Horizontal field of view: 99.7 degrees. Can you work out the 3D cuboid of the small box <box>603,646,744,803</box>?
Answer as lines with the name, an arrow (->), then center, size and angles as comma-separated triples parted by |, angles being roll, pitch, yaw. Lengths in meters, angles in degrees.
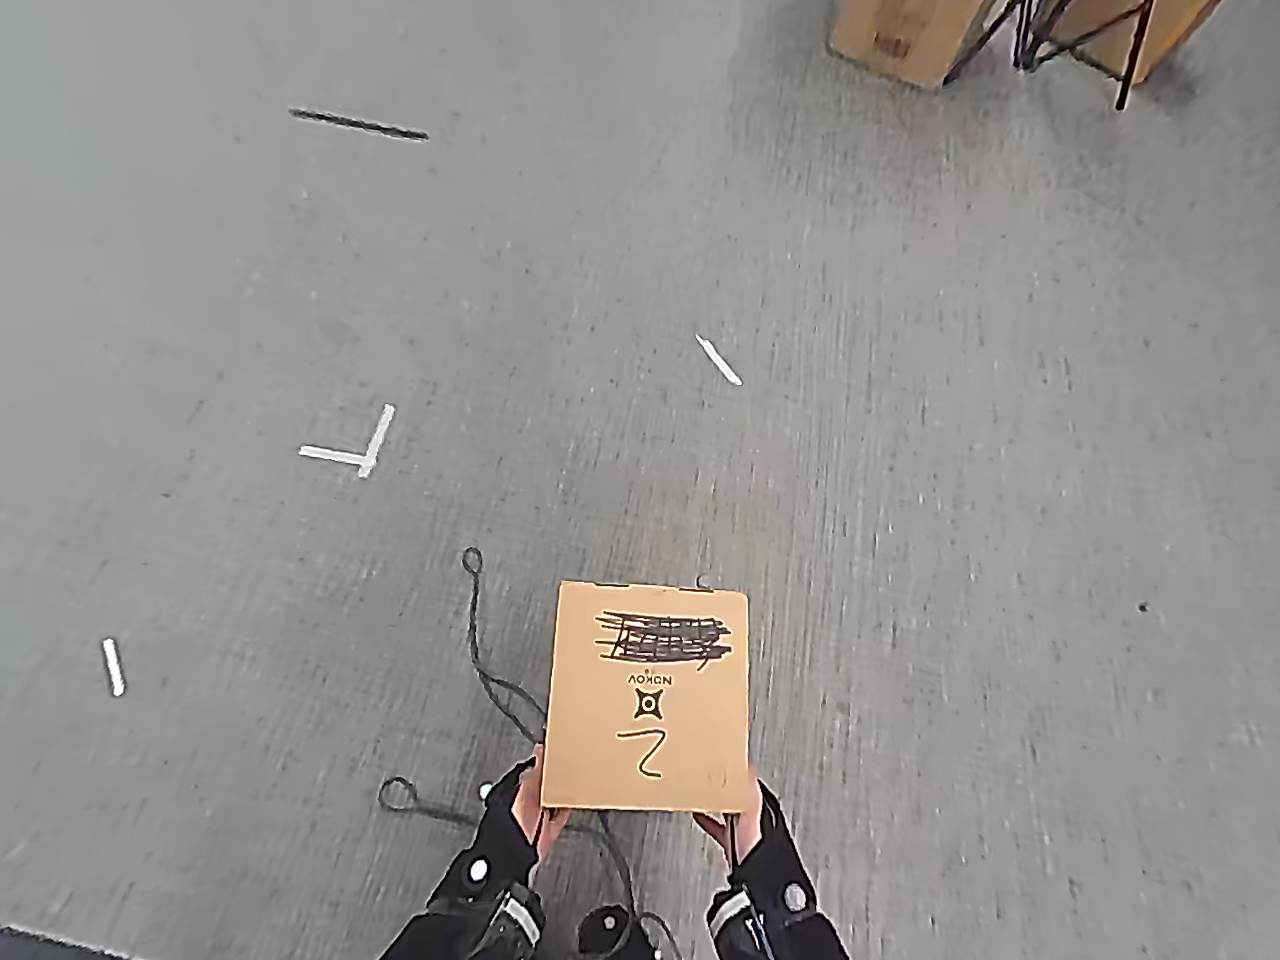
small box -> 0.051, 0.392, 0.864 | 0.168, 0.176, 0.179 | 19, 46, -16
